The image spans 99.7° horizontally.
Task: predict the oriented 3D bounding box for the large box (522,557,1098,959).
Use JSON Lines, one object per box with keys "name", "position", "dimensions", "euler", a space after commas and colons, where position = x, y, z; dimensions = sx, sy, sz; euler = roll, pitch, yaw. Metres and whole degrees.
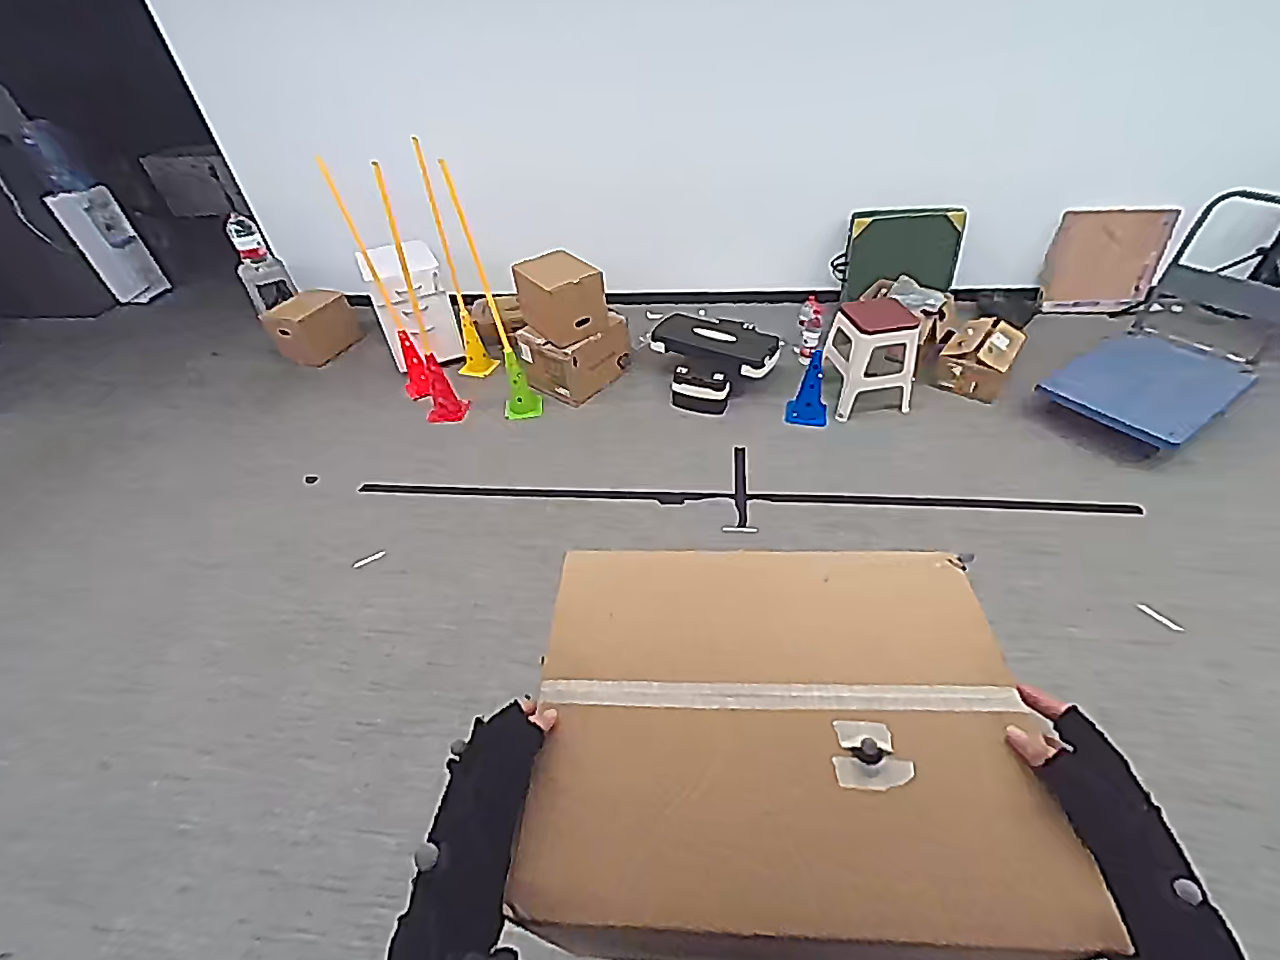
{"name": "large box", "position": [0.124, 0.297, 0.581], "dimensions": [0.408, 0.320, 0.320], "euler": [0, 45, 4]}
